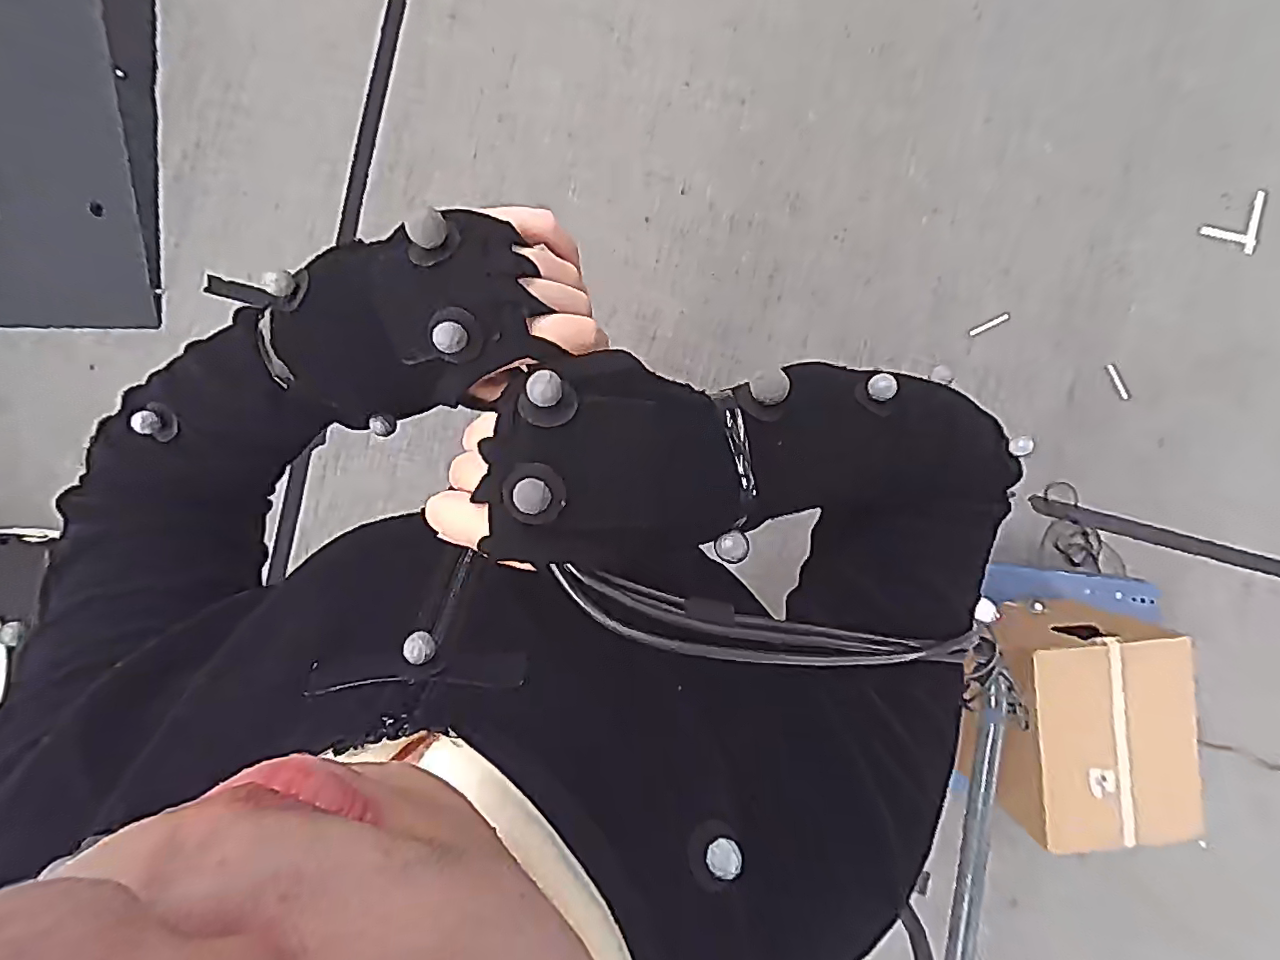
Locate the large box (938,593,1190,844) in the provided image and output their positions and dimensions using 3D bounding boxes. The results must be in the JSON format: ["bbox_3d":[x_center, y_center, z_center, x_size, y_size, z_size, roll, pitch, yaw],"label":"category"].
[{"bbox_3d":[0.909,0.496,1.201,0.320,0.320,0.408,-5,93,0],"label":"large box"}]
